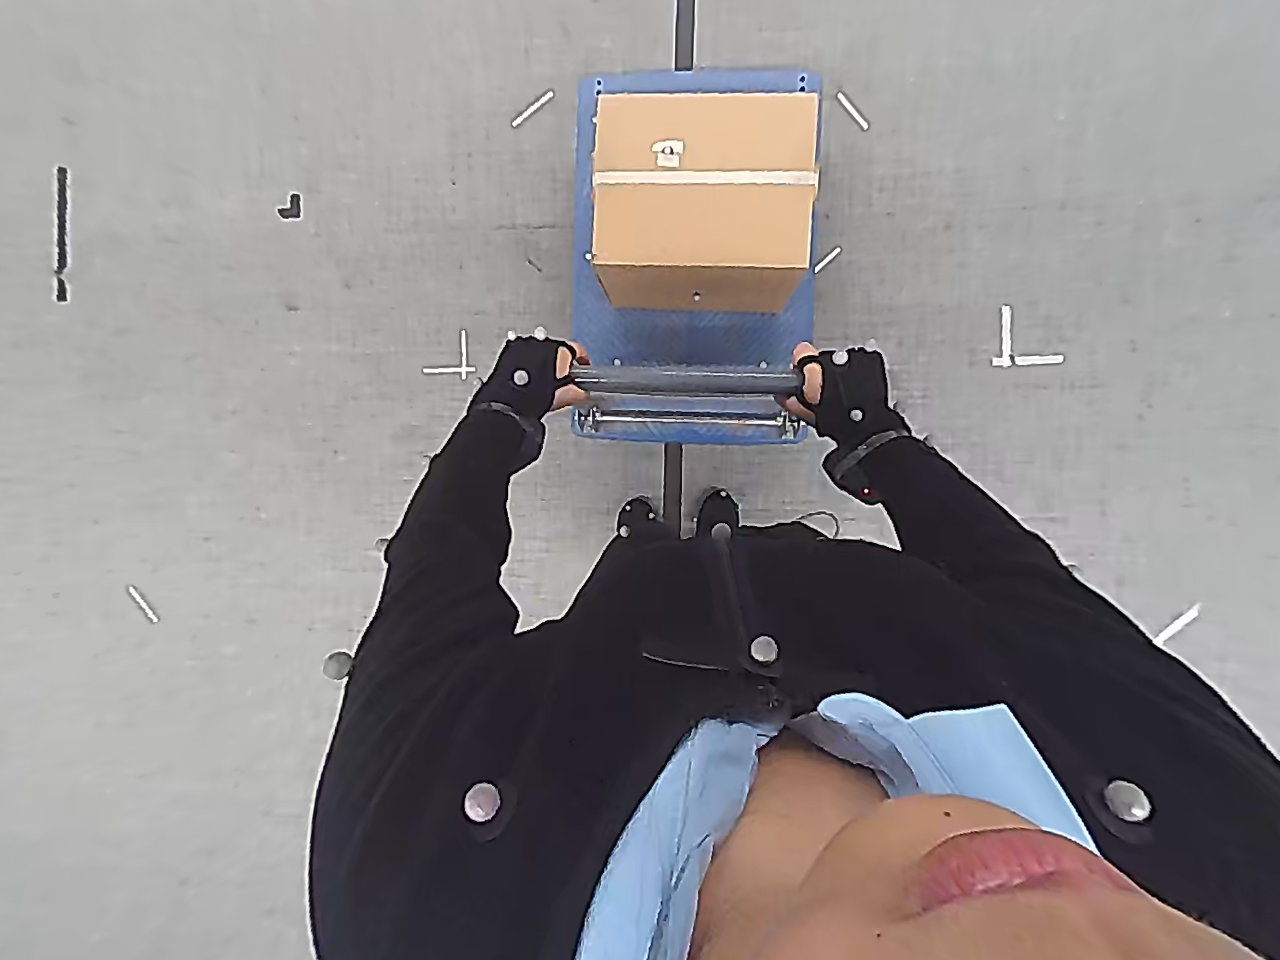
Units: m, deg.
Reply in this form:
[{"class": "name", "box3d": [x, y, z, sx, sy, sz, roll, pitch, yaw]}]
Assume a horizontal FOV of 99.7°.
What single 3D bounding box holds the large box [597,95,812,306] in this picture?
[{"class": "large box", "box3d": [0.134, -0.567, 1.166, 0.408, 0.320, 0.320, 2, 92, 6]}]
